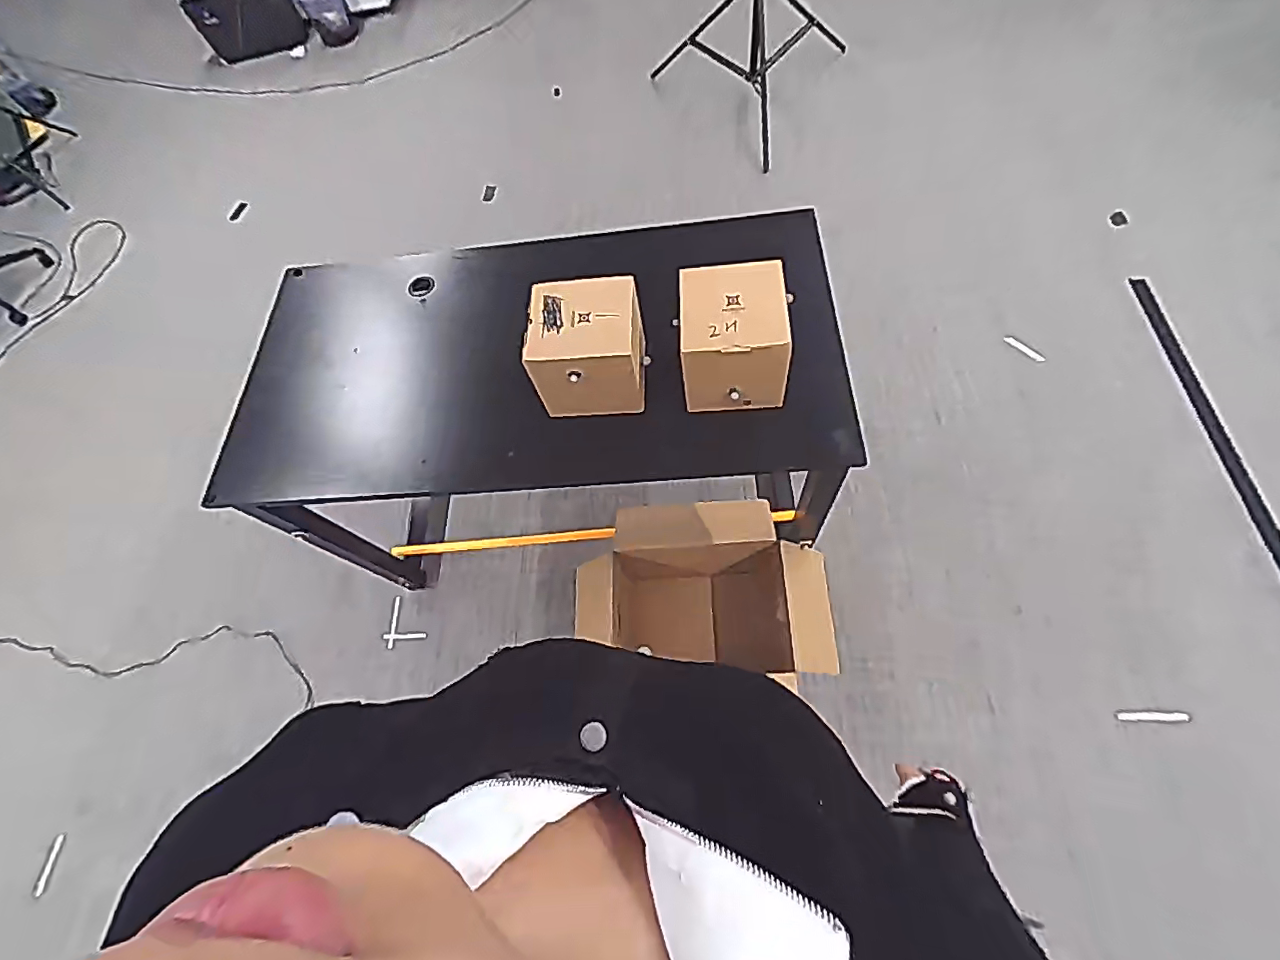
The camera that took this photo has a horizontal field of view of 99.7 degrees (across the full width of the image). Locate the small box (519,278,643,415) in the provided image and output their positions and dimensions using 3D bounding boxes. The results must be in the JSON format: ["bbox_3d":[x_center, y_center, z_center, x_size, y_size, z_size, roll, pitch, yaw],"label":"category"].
[{"bbox_3d":[-0.094,-0.225,0.946,0.179,0.176,0.168,-2,65,7],"label":"small box"}]

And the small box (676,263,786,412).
[{"bbox_3d":[0.149,-0.236,0.915,0.168,0.176,0.179,-3,64,8],"label":"small box"}]
